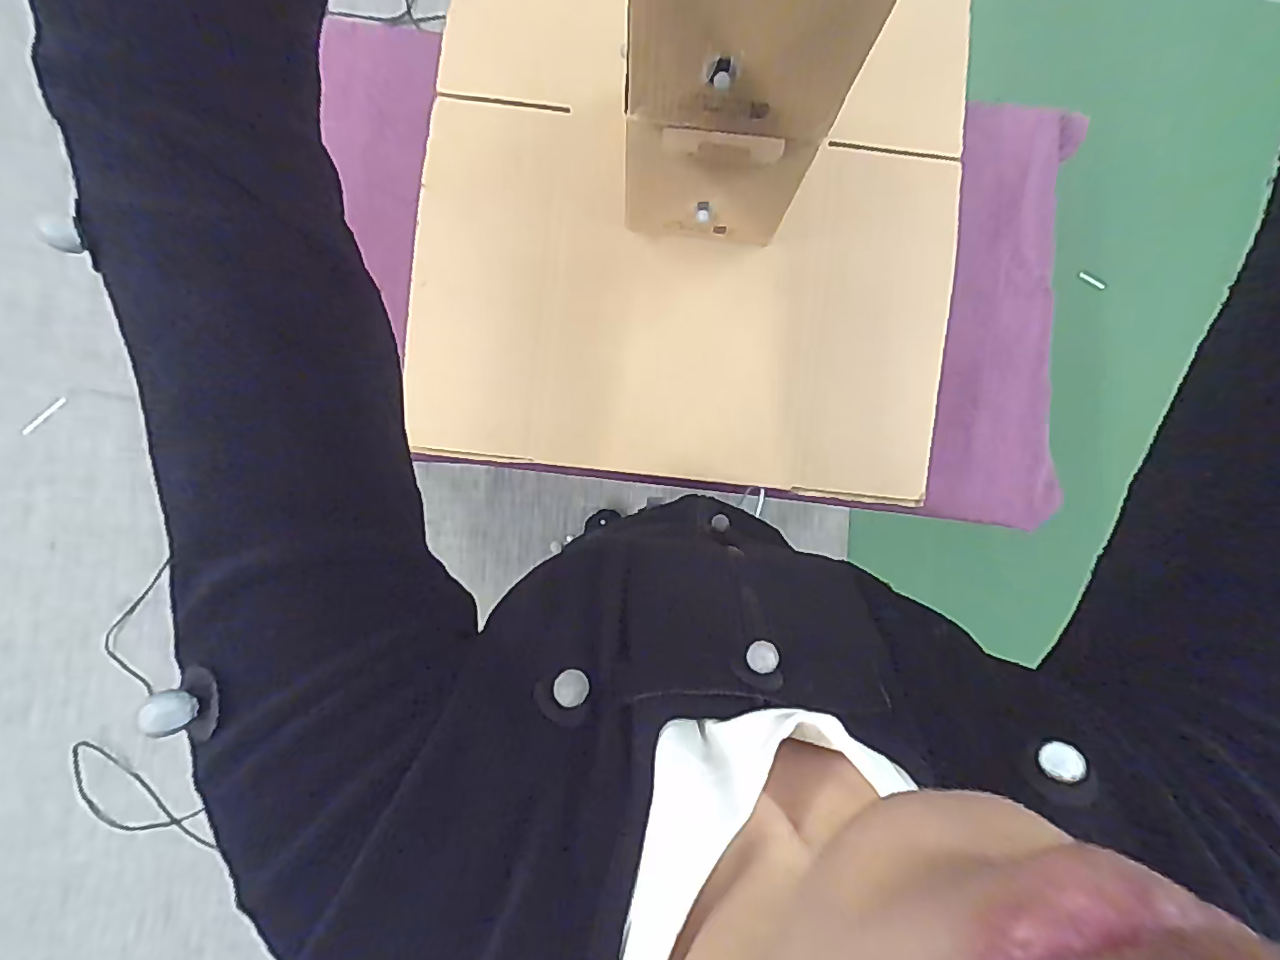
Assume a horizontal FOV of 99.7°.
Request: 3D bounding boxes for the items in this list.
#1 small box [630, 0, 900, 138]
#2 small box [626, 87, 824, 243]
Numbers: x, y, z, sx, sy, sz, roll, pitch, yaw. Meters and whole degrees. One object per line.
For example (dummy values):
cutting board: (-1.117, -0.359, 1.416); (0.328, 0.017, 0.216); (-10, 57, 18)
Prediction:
small box: (0.082, -0.380, 0.368); (0.168, 0.176, 0.179); (5, 86, -3)
small box: (0.077, -0.366, 0.530); (0.168, 0.176, 0.179); (6, 85, -2)
